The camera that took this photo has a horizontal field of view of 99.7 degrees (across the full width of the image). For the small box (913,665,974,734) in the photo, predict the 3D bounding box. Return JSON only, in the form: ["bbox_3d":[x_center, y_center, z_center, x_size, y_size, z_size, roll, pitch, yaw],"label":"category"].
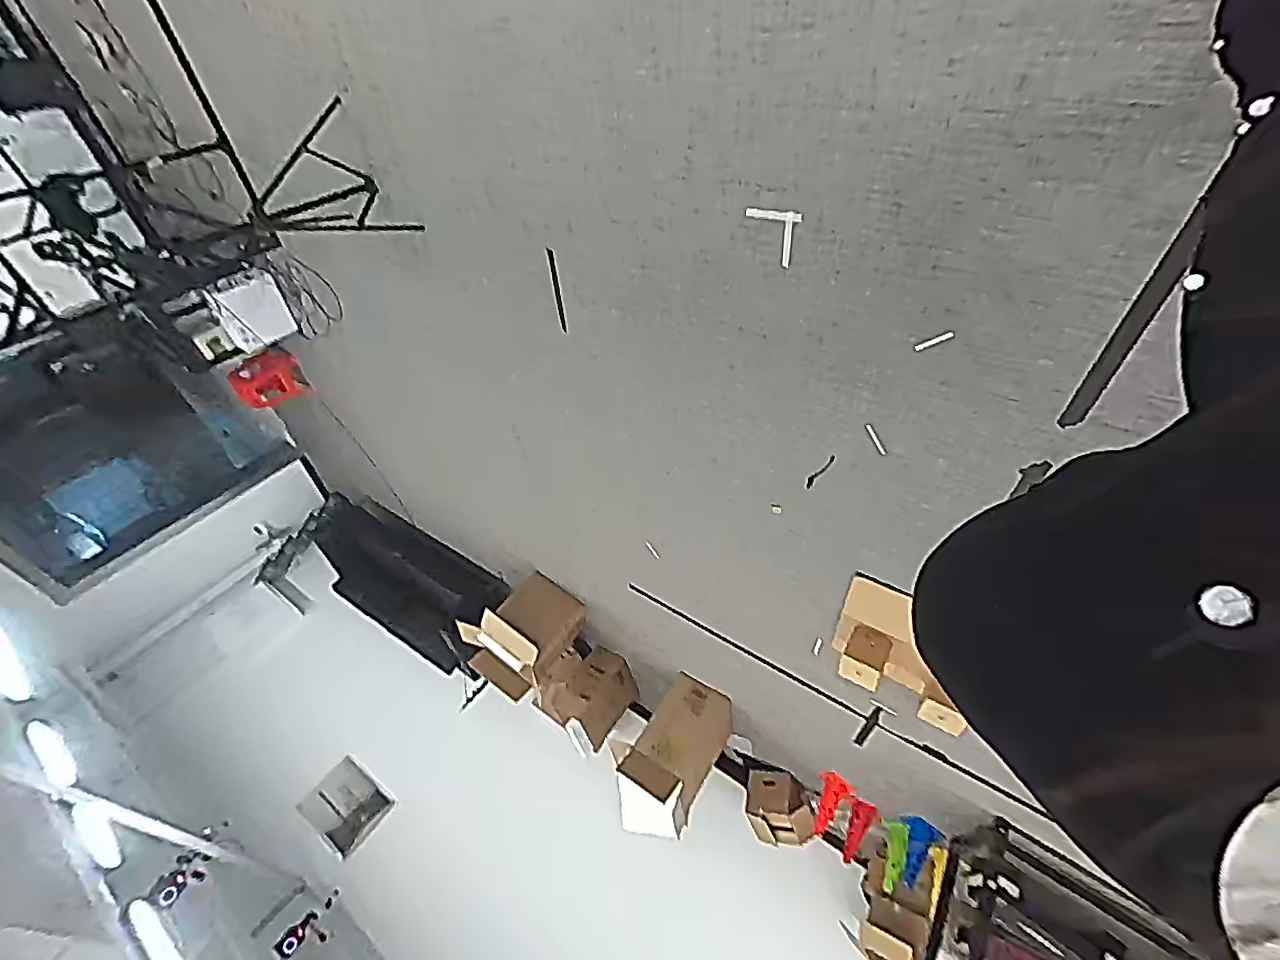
[{"bbox_3d":[1.276,0.917,2.265,0.168,0.176,0.179,22,140,27],"label":"small box"}]

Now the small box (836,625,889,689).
[{"bbox_3d":[0.998,0.790,2.422,0.168,0.176,0.179,20,139,30],"label":"small box"}]
